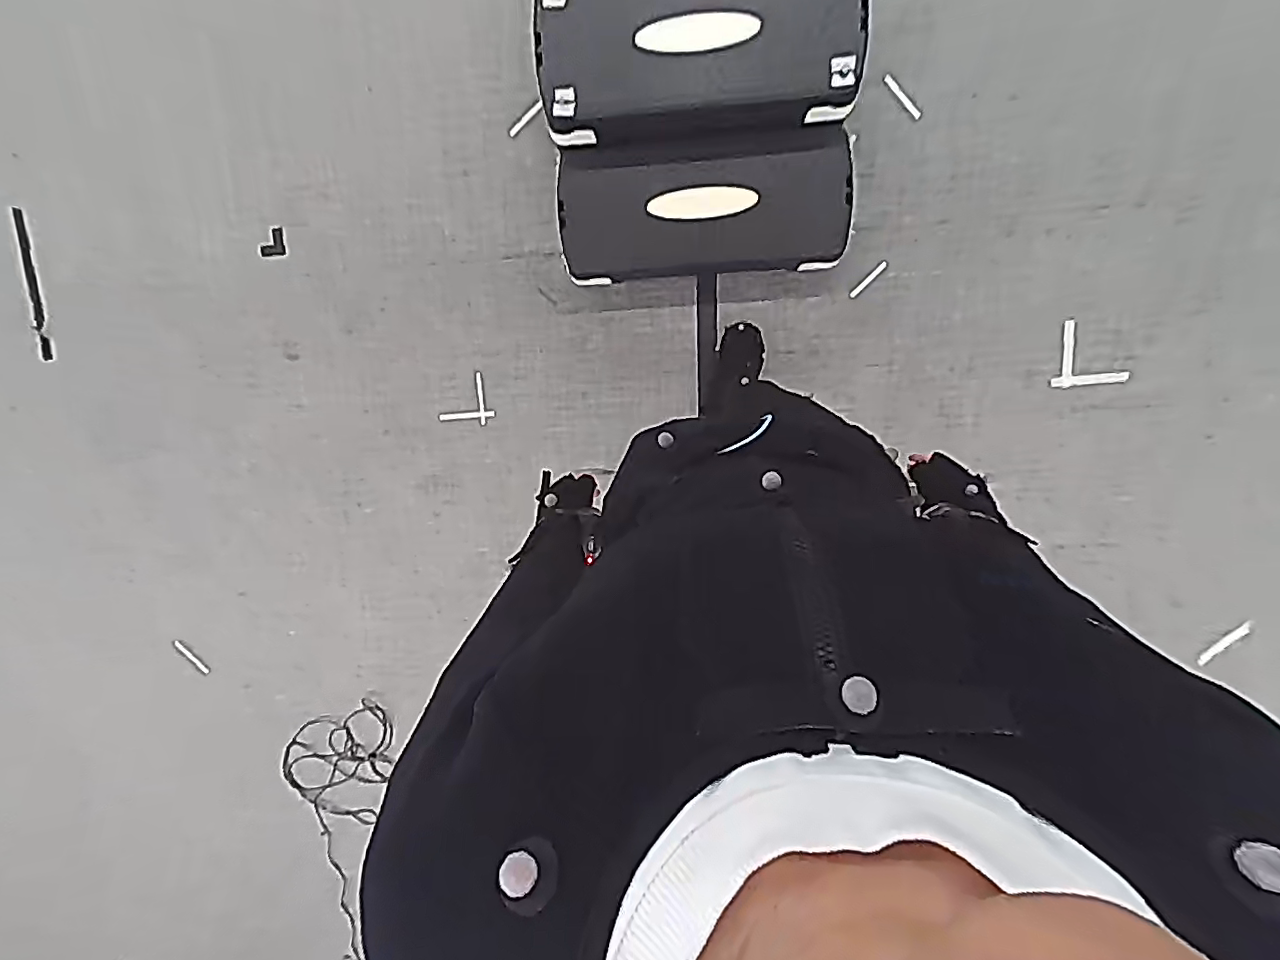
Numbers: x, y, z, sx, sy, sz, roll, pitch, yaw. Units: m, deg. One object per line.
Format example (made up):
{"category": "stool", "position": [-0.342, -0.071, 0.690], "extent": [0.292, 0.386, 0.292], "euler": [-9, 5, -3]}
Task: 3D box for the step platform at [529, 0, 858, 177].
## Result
{"category": "step platform", "position": [0.107, -0.873, 1.174], "extent": [0.684, 0.204, 0.286], "euler": [-3, 101, 5]}
